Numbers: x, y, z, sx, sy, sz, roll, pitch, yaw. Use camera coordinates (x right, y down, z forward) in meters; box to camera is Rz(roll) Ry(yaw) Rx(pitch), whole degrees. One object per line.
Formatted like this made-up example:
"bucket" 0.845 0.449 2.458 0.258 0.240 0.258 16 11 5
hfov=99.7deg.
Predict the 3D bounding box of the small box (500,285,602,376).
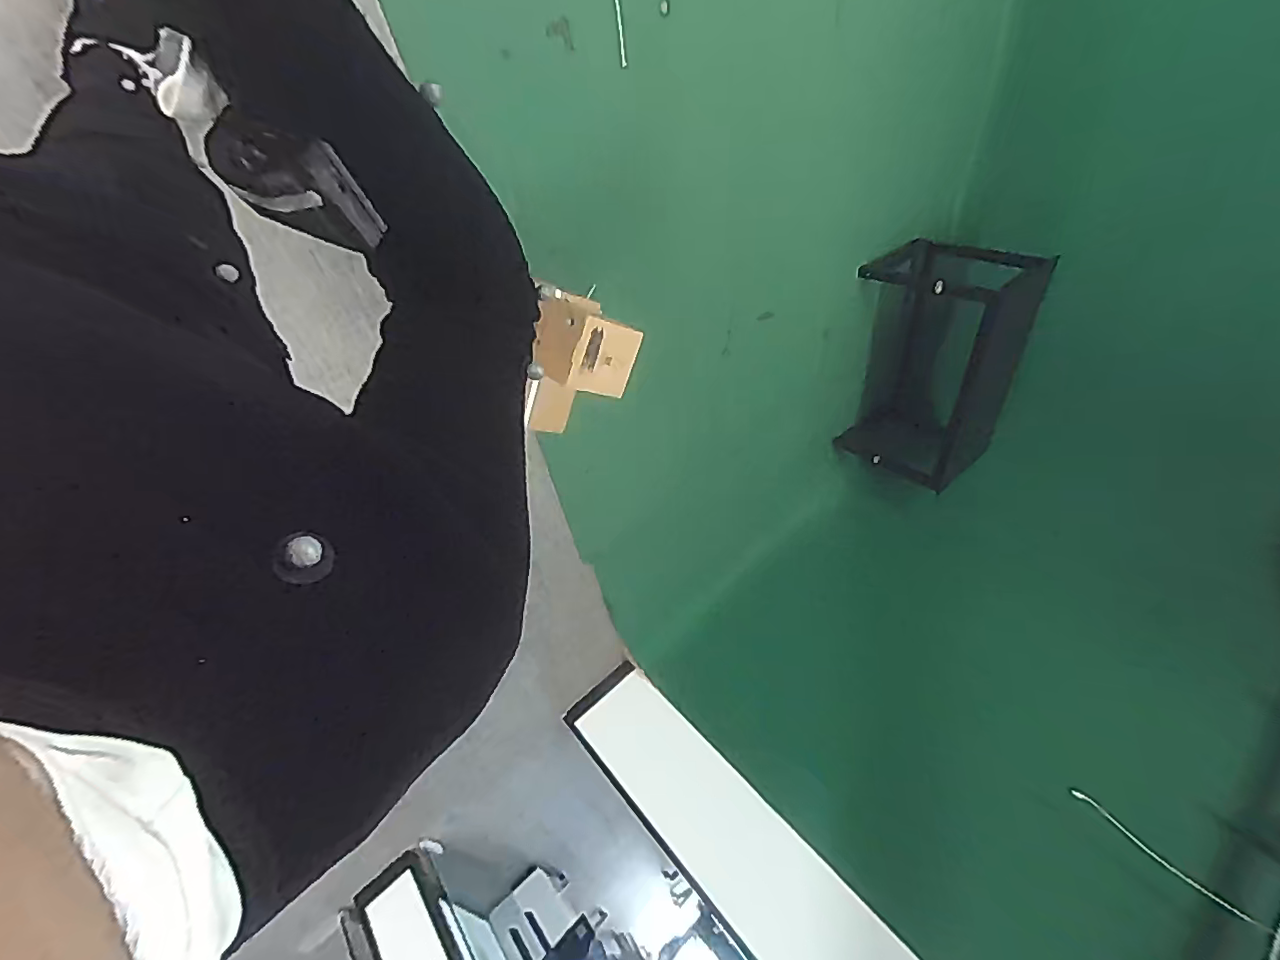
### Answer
"small box" -0.234 -0.387 1.391 0.179 0.176 0.168 4 114 -47
